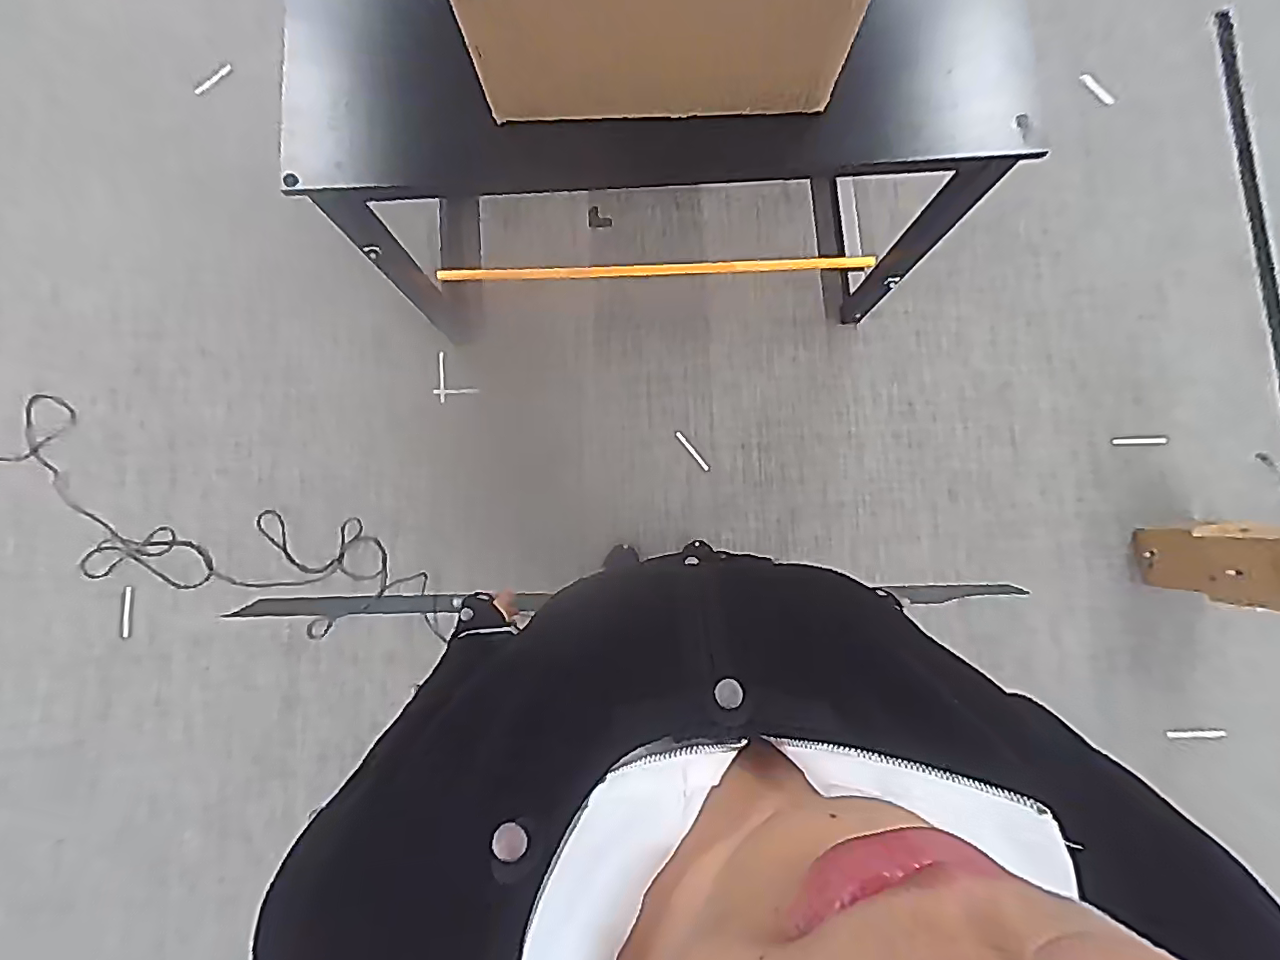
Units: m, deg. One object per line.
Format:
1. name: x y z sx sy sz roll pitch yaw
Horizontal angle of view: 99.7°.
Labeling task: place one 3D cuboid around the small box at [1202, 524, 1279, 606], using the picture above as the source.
1. small box: 1.470 0.194 1.251 0.179 0.176 0.168 -10 84 0

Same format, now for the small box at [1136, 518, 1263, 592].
1. small box: 1.472 0.193 1.416 0.179 0.176 0.168 -9 83 1
